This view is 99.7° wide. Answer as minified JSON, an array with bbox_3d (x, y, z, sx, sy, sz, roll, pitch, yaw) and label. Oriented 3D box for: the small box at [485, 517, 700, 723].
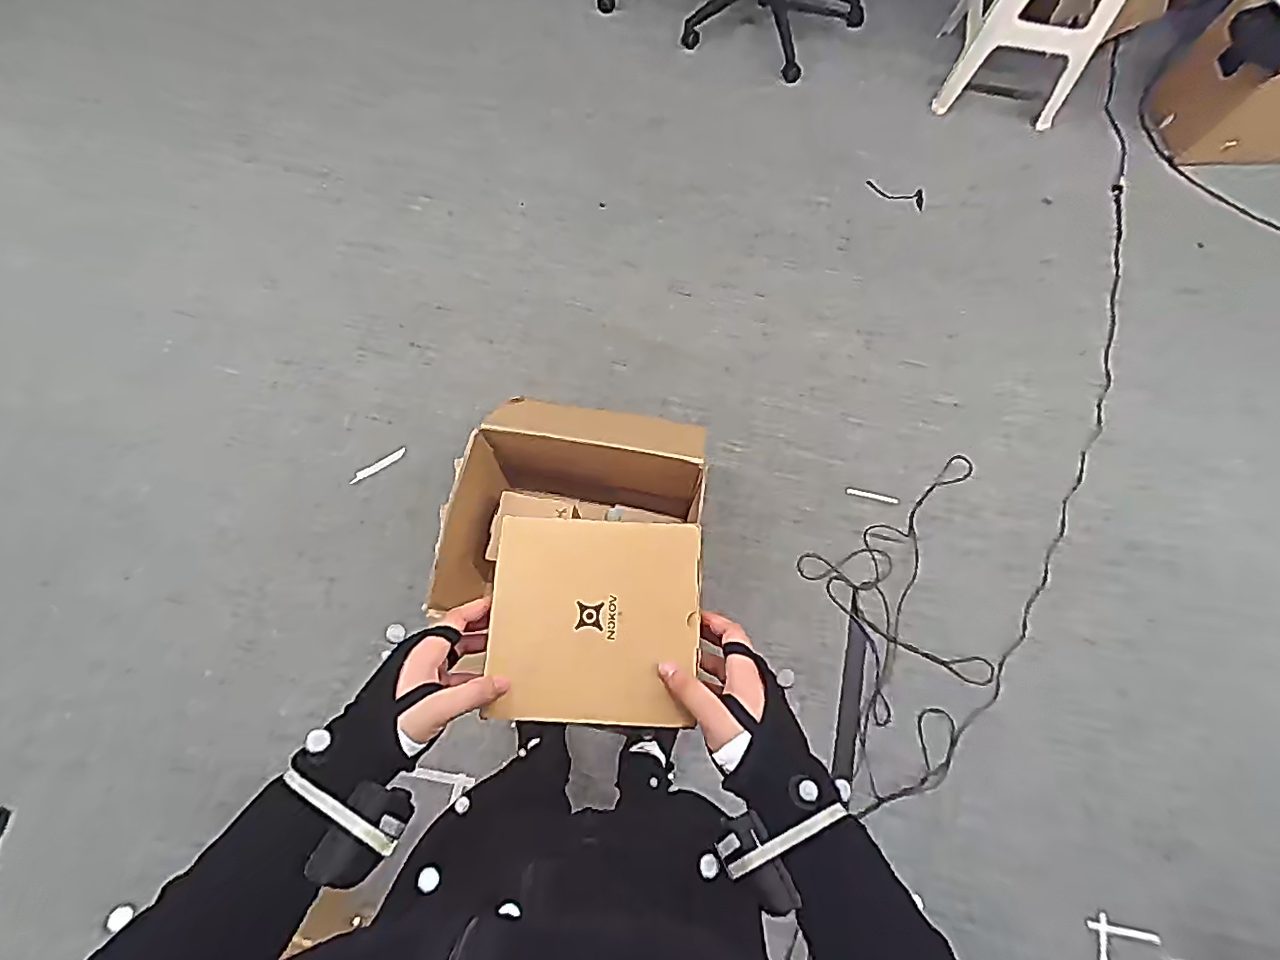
[{"bbox_3d":[-0.038,0.138,0.537,0.179,0.176,0.168,3,74,-1],"label":"small box"}]
